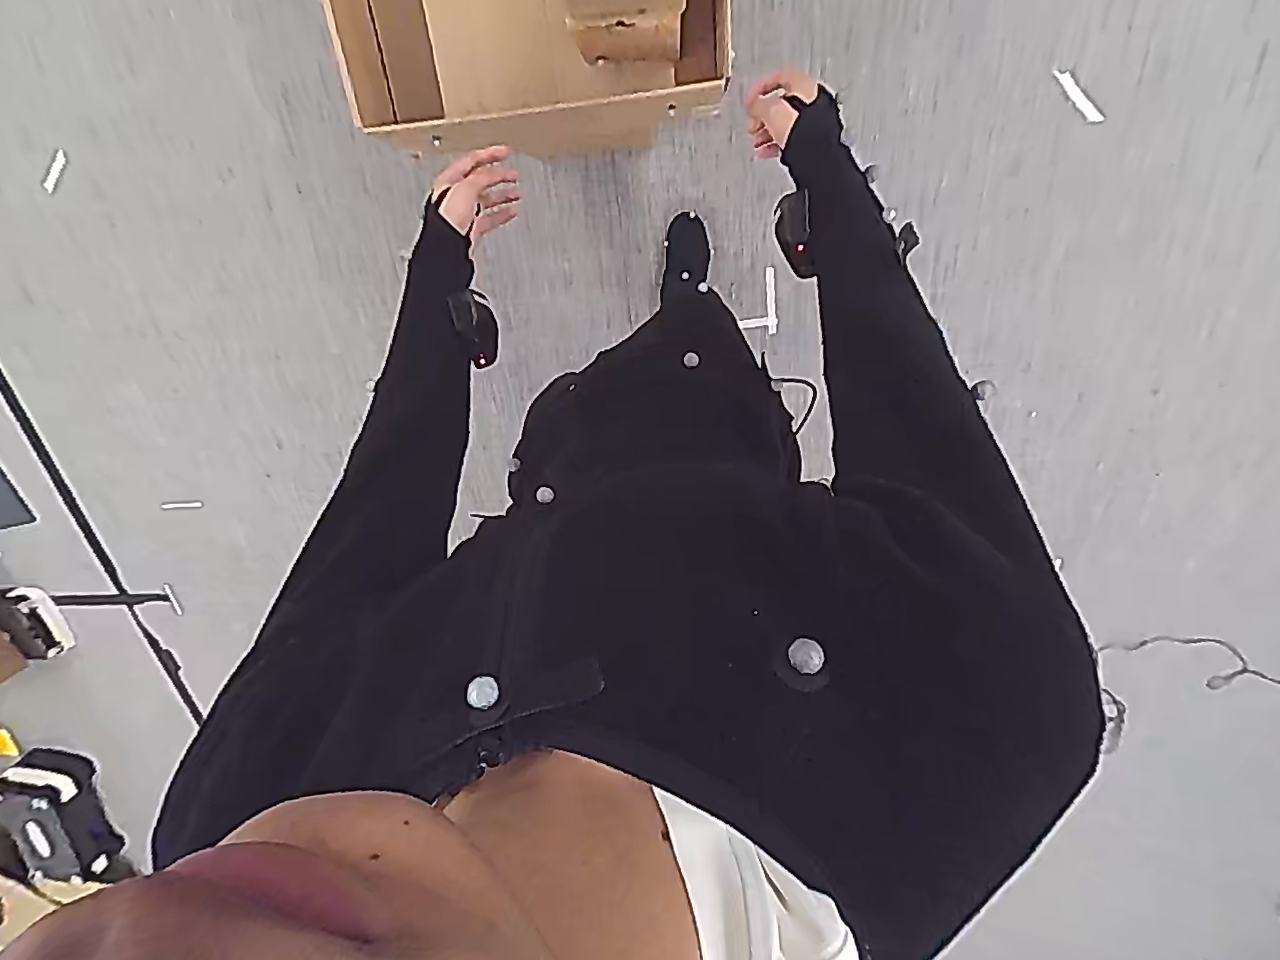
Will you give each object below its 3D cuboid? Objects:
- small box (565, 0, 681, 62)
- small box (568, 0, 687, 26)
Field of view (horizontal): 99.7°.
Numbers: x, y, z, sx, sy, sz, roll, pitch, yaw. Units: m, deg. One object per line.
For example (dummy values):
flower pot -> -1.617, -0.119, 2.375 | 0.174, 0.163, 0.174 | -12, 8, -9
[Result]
small box -> -0.019, -0.763, 0.822 | 0.168, 0.176, 0.179 | 2, 113, 3
small box -> -0.024, -0.706, 0.668 | 0.168, 0.176, 0.179 | -1, 113, 5
